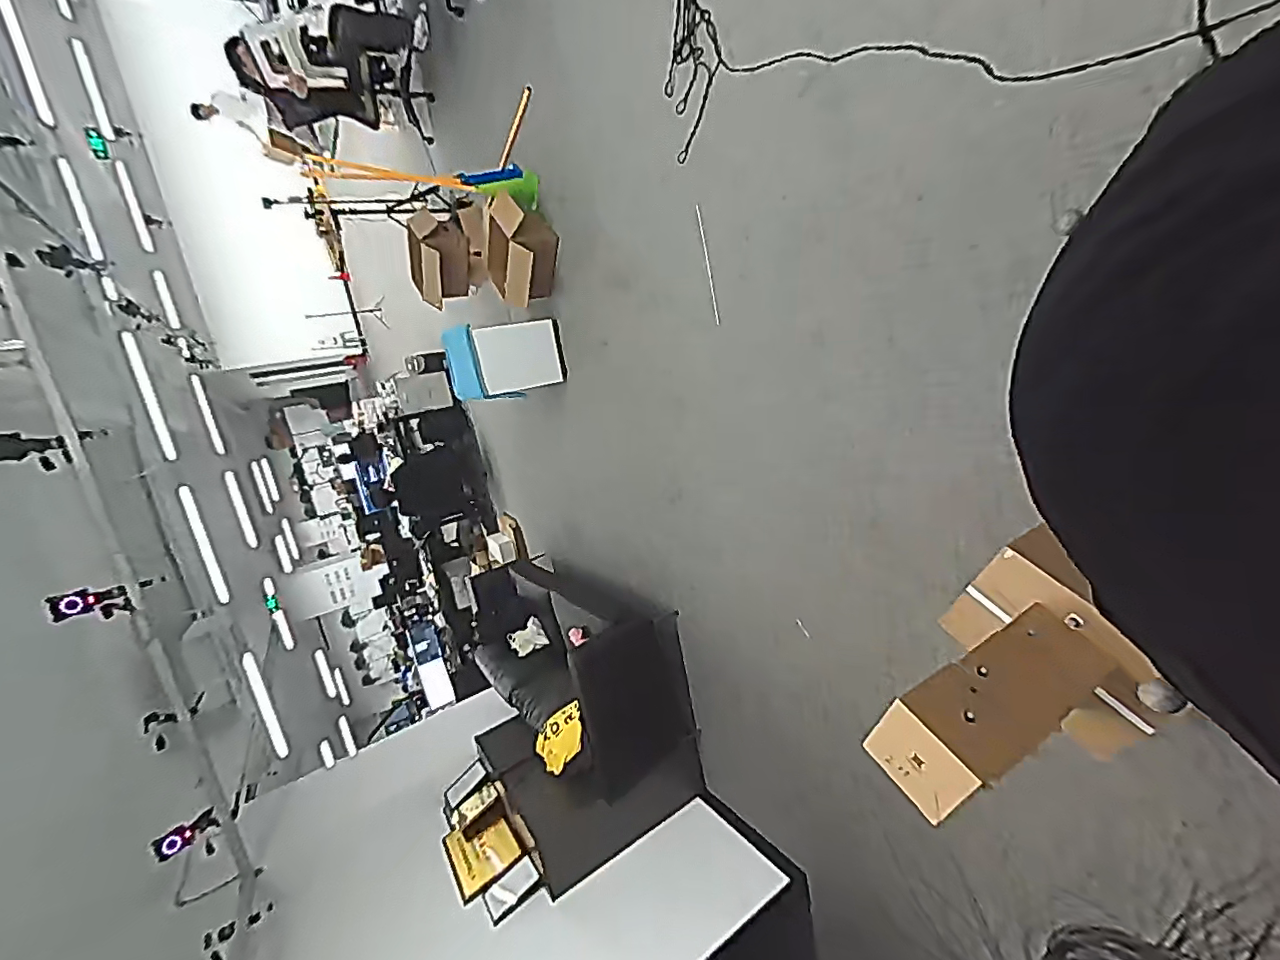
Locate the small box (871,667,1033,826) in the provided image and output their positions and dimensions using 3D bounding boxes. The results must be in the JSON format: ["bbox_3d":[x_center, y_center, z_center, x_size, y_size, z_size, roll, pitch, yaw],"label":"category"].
[{"bbox_3d":[0.567,0.476,0.985,0.168,0.176,0.179,48,143,40],"label":"small box"}]

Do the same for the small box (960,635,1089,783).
[{"bbox_3d":[0.713,0.439,1.054,0.179,0.176,0.168,48,143,40],"label":"small box"}]
